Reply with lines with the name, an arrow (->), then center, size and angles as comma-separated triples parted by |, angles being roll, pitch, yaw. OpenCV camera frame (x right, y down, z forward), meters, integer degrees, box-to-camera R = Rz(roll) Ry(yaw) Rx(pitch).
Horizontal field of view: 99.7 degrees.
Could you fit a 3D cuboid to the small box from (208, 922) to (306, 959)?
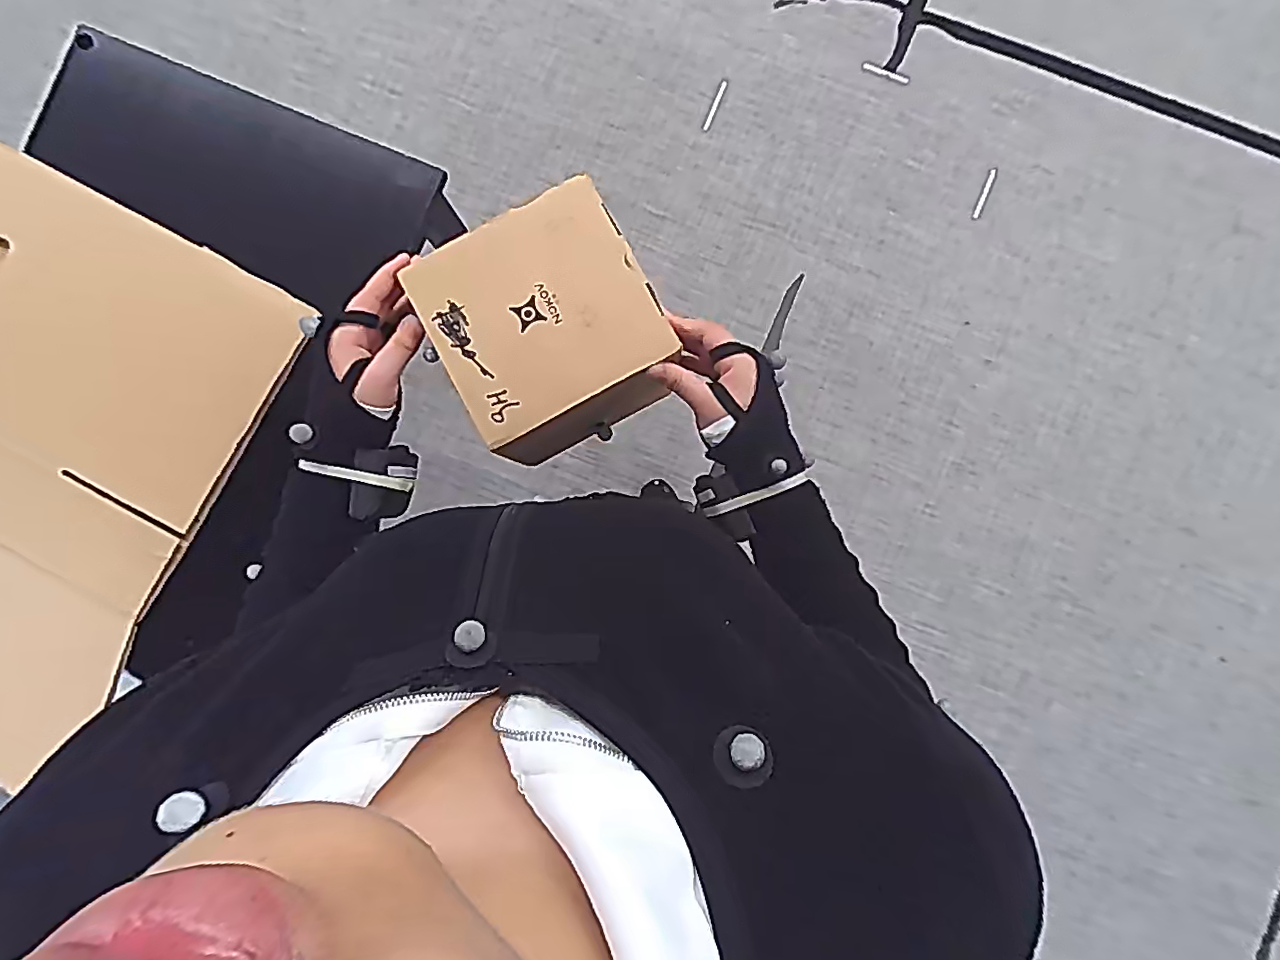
small box -> -1.012, 1.292, 1.387 | 0.179, 0.176, 0.168 | 19, 88, 1
